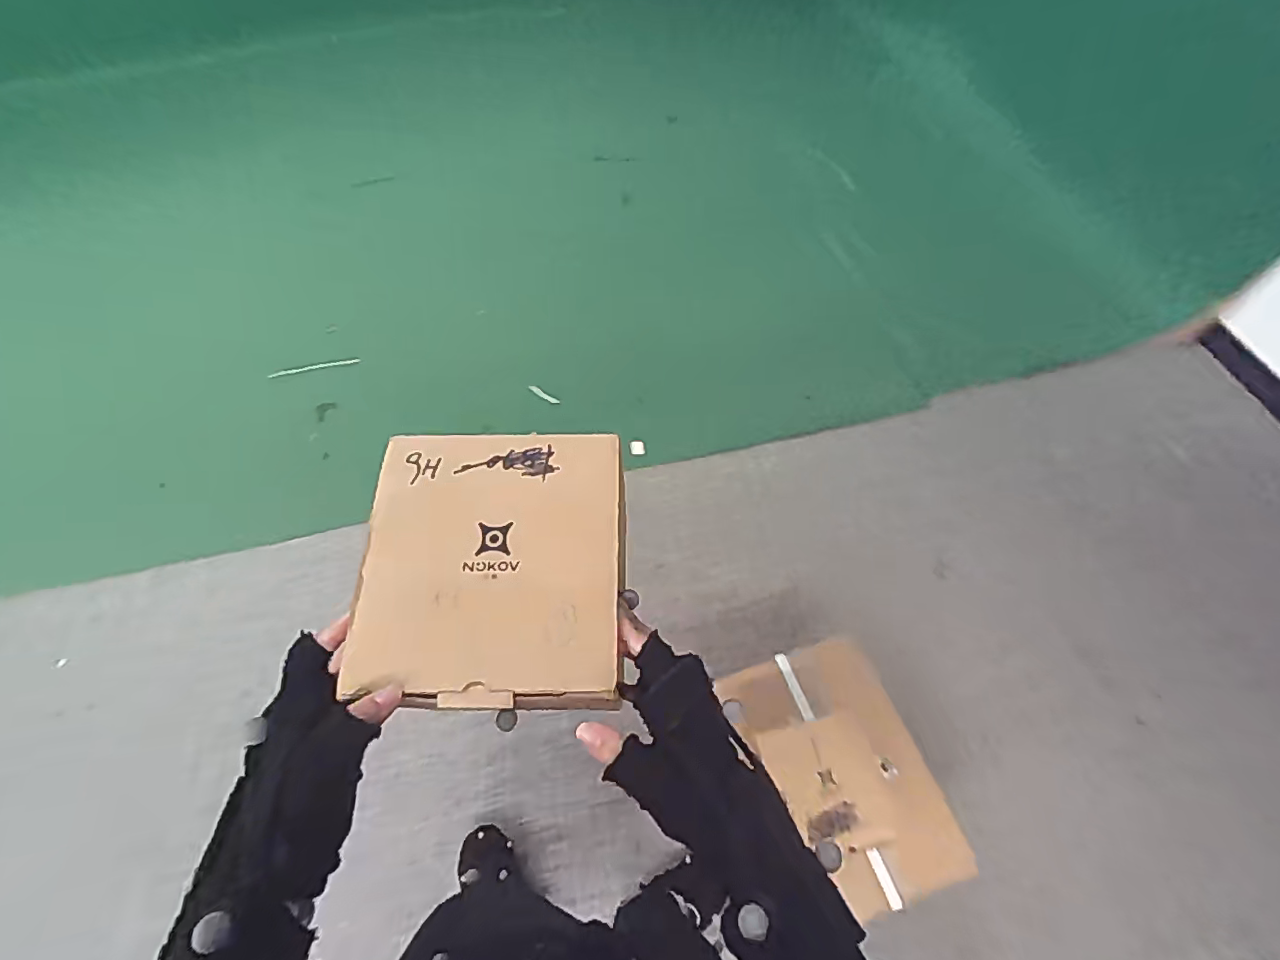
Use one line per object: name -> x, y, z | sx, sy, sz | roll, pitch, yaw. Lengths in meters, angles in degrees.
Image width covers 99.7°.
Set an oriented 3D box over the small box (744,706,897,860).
small box -> 0.276, 0.482, 0.872 | 0.168, 0.176, 0.179 | -13, 60, -3
